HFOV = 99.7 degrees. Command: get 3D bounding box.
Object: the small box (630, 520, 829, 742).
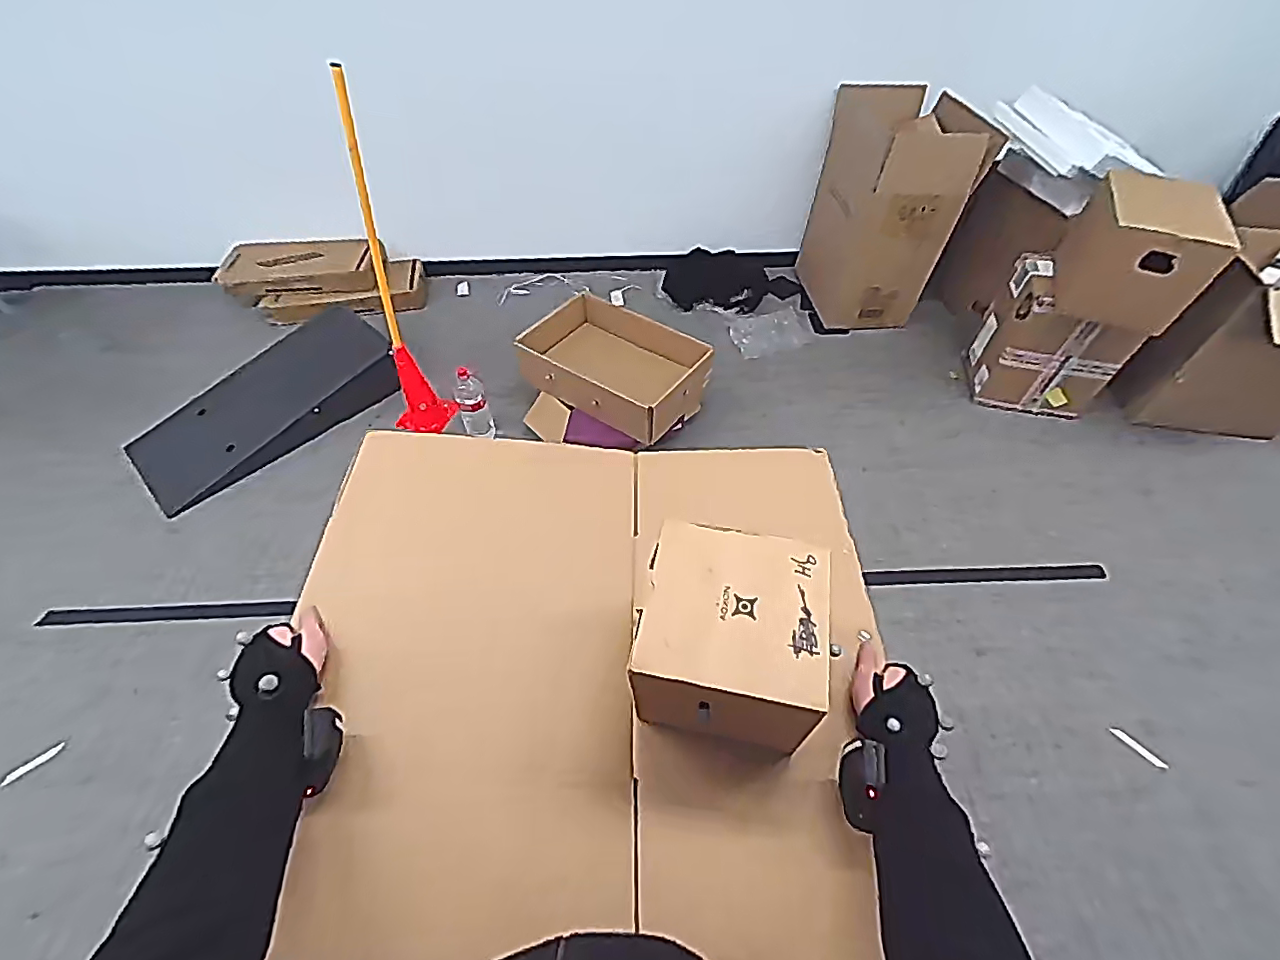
[{"bbox_3d":[0.097,0.166,0.586,0.179,0.176,0.168,8,54,11],"label":"small box"}]
